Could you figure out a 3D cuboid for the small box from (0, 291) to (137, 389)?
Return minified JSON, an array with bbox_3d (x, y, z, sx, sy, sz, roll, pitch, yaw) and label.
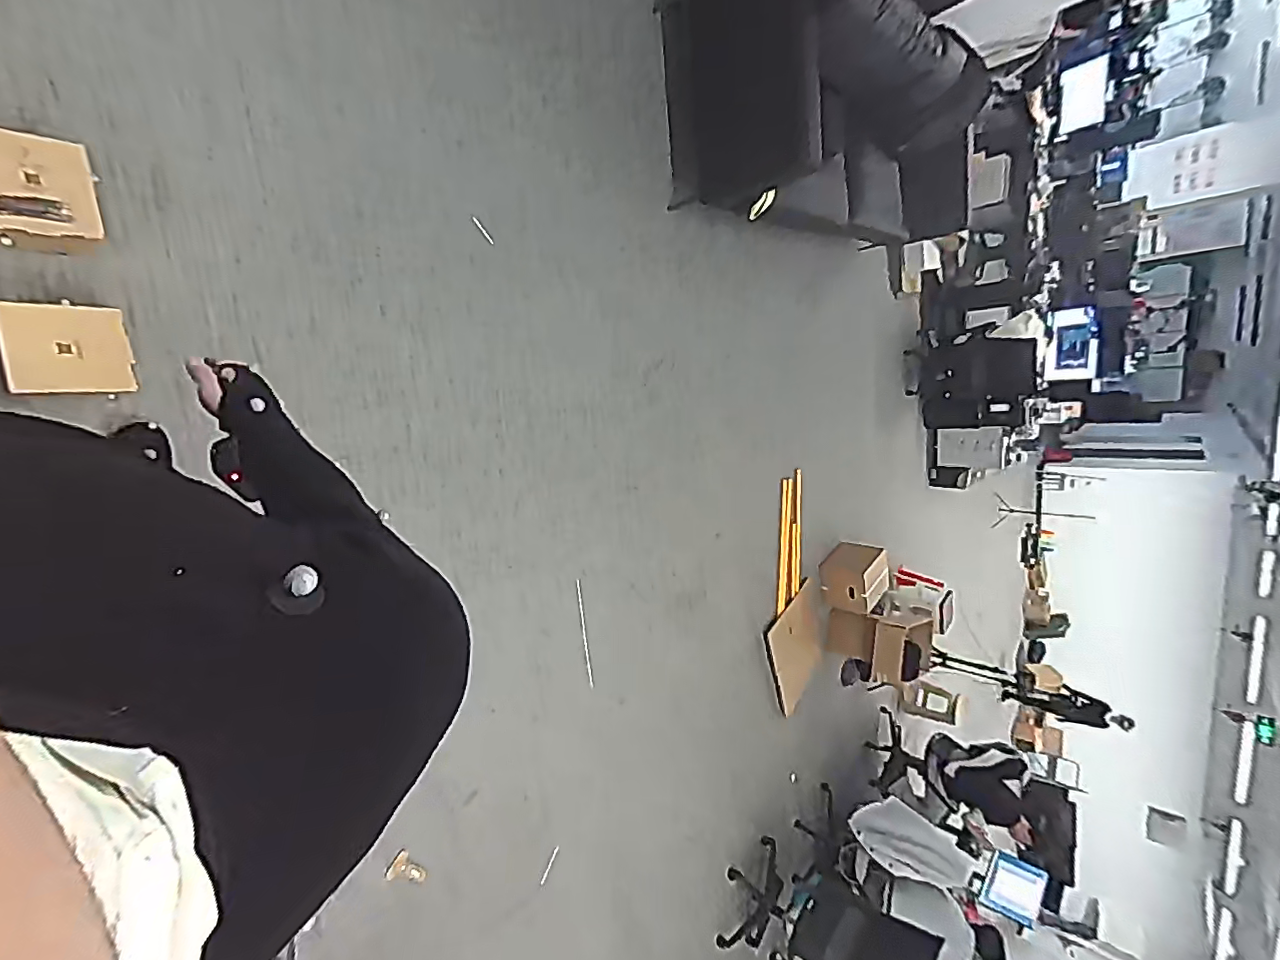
[{"bbox_3d":[-1.142,-0.270,1.080,0.179,0.176,0.168,-12,102,-46],"label":"small box"}]
